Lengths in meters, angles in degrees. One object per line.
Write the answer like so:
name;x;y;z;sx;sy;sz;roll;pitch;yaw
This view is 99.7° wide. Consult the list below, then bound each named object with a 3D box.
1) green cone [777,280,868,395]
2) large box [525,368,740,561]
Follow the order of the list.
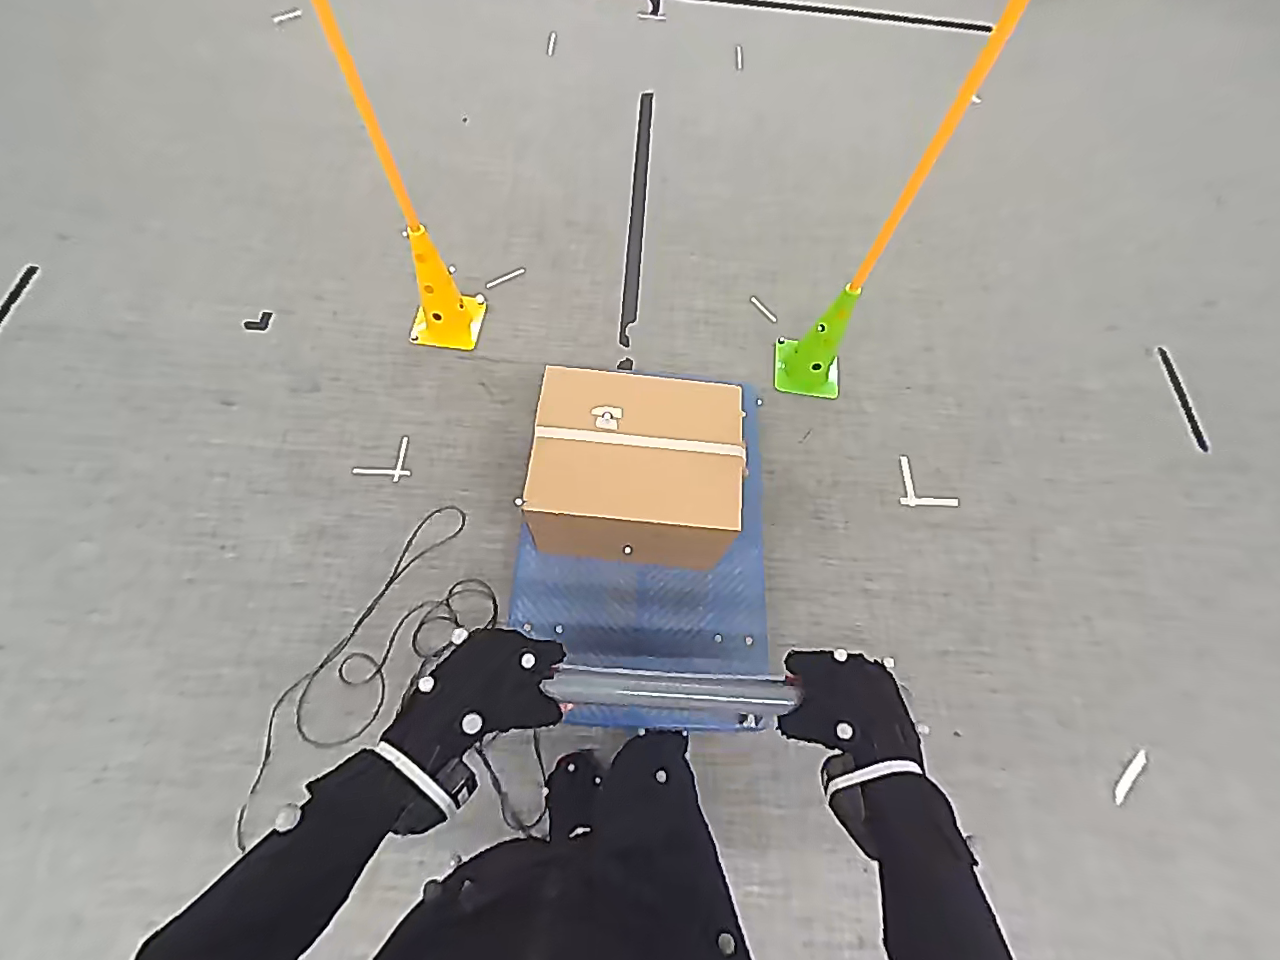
green cone;0.548;-0.431;1.558;0.202;0.368;0.200;8;67;-2
large box;-0.010;-0.016;1.187;0.408;0.320;0.320;6;67;-1
